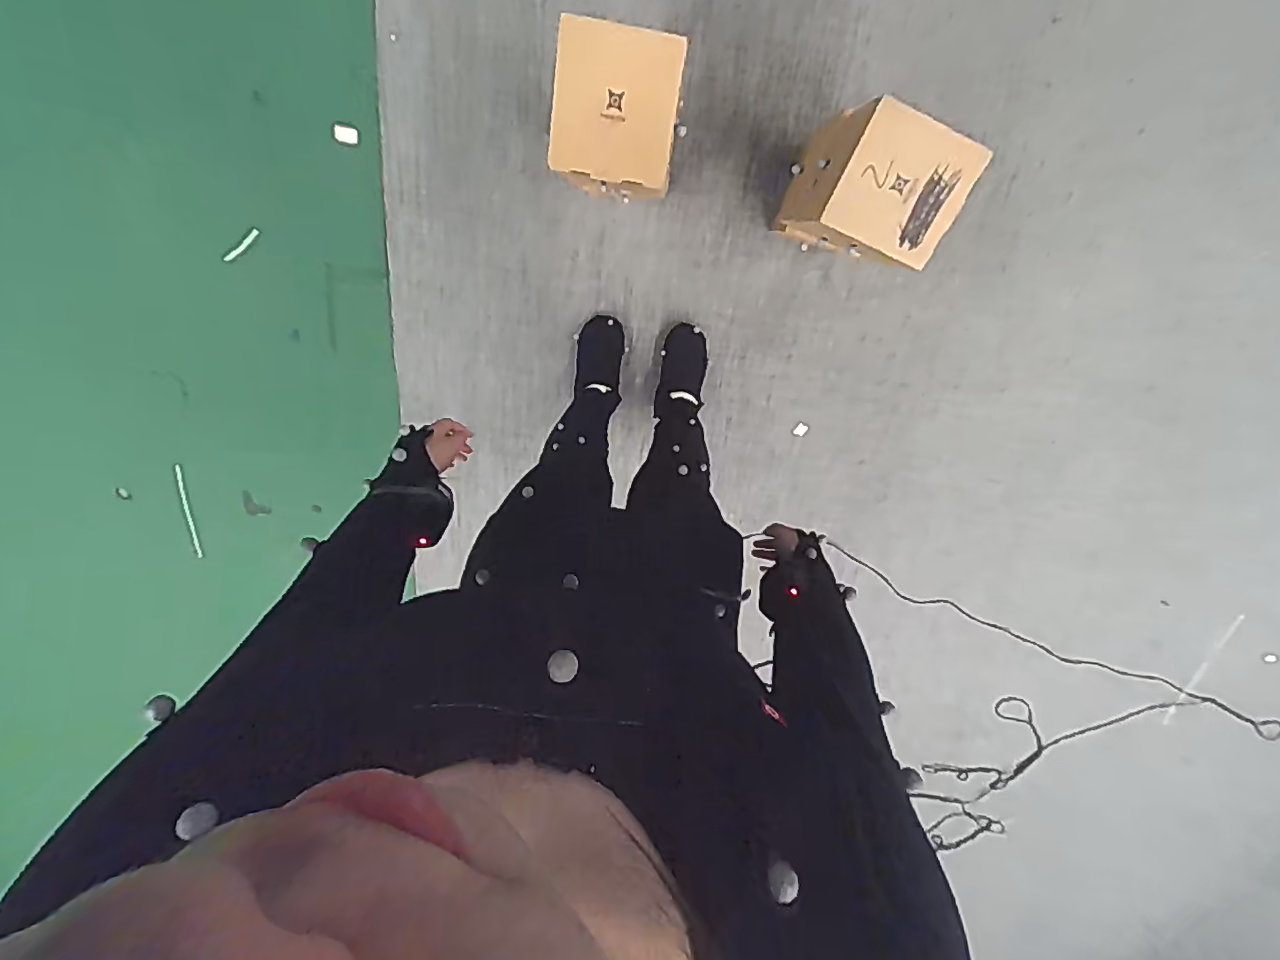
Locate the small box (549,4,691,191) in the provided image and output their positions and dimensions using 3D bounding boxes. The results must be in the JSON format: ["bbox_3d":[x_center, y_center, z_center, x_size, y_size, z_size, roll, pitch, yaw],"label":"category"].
[{"bbox_3d":[-0.029,-0.532,0.779,0.168,0.176,0.179,10,115,-2],"label":"small box"}]

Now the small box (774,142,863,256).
[{"bbox_3d":[0.390,-0.578,1.105,0.168,0.176,0.179,16,116,-6],"label":"small box"}]

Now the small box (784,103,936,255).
[{"bbox_3d":[0.369,-0.521,0.952,0.168,0.176,0.179,20,115,-8],"label":"small box"}]
